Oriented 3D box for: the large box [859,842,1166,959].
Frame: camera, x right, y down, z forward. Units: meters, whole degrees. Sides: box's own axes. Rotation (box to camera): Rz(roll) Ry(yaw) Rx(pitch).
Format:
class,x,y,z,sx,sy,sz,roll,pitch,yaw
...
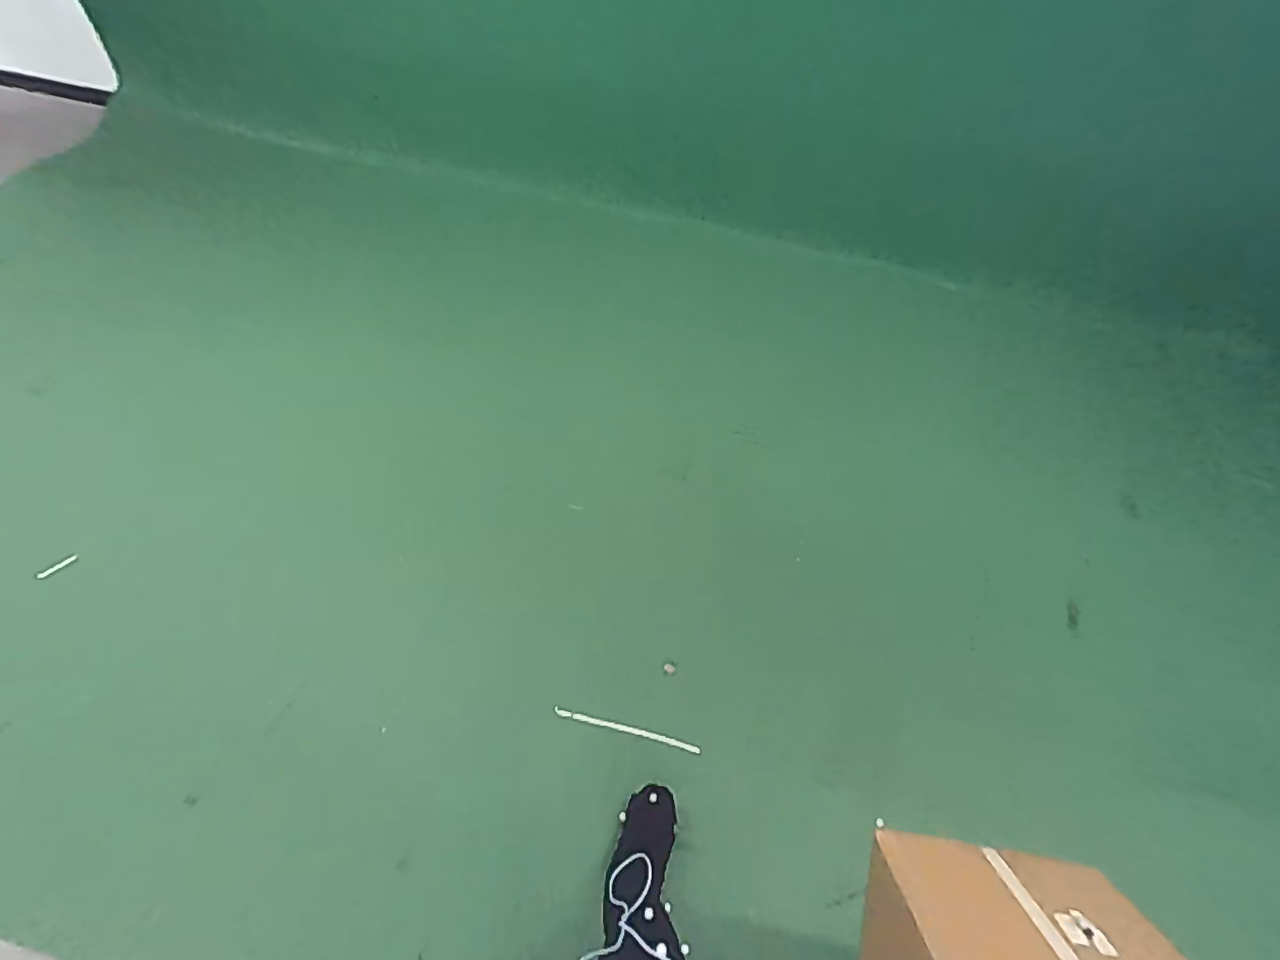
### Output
class,x,y,z,sx,sy,sz,roll,pitch,yaw
large box,0.457,0.706,0.595,0.320,0.408,0.320,8,91,6
